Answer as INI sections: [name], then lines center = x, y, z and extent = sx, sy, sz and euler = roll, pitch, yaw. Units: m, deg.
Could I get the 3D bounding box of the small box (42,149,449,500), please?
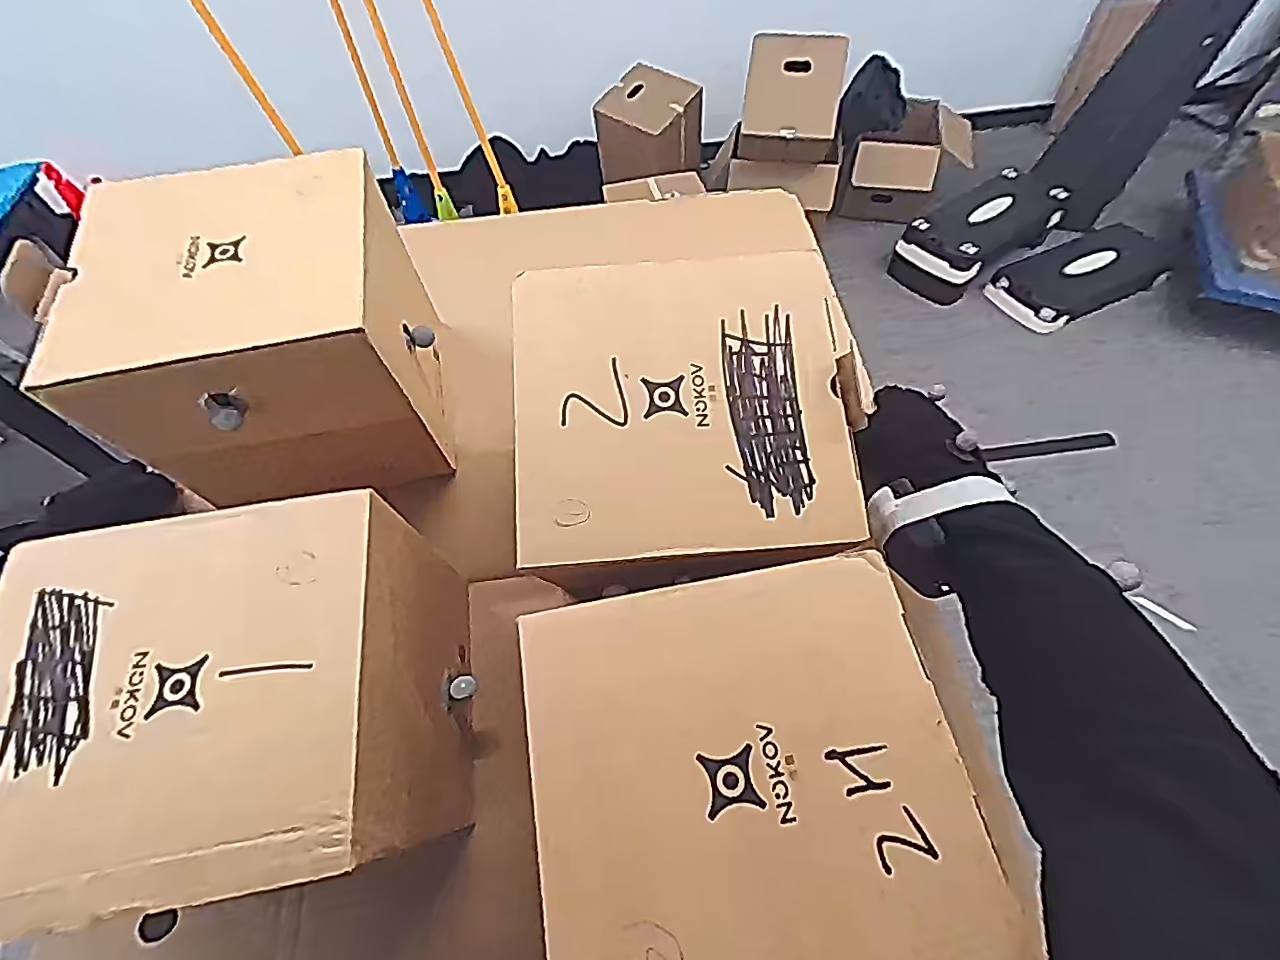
[small box]
center = -0.253, -0.103, 0.403
extent = 0.179, 0.176, 0.168
euler = -13, 64, -4
